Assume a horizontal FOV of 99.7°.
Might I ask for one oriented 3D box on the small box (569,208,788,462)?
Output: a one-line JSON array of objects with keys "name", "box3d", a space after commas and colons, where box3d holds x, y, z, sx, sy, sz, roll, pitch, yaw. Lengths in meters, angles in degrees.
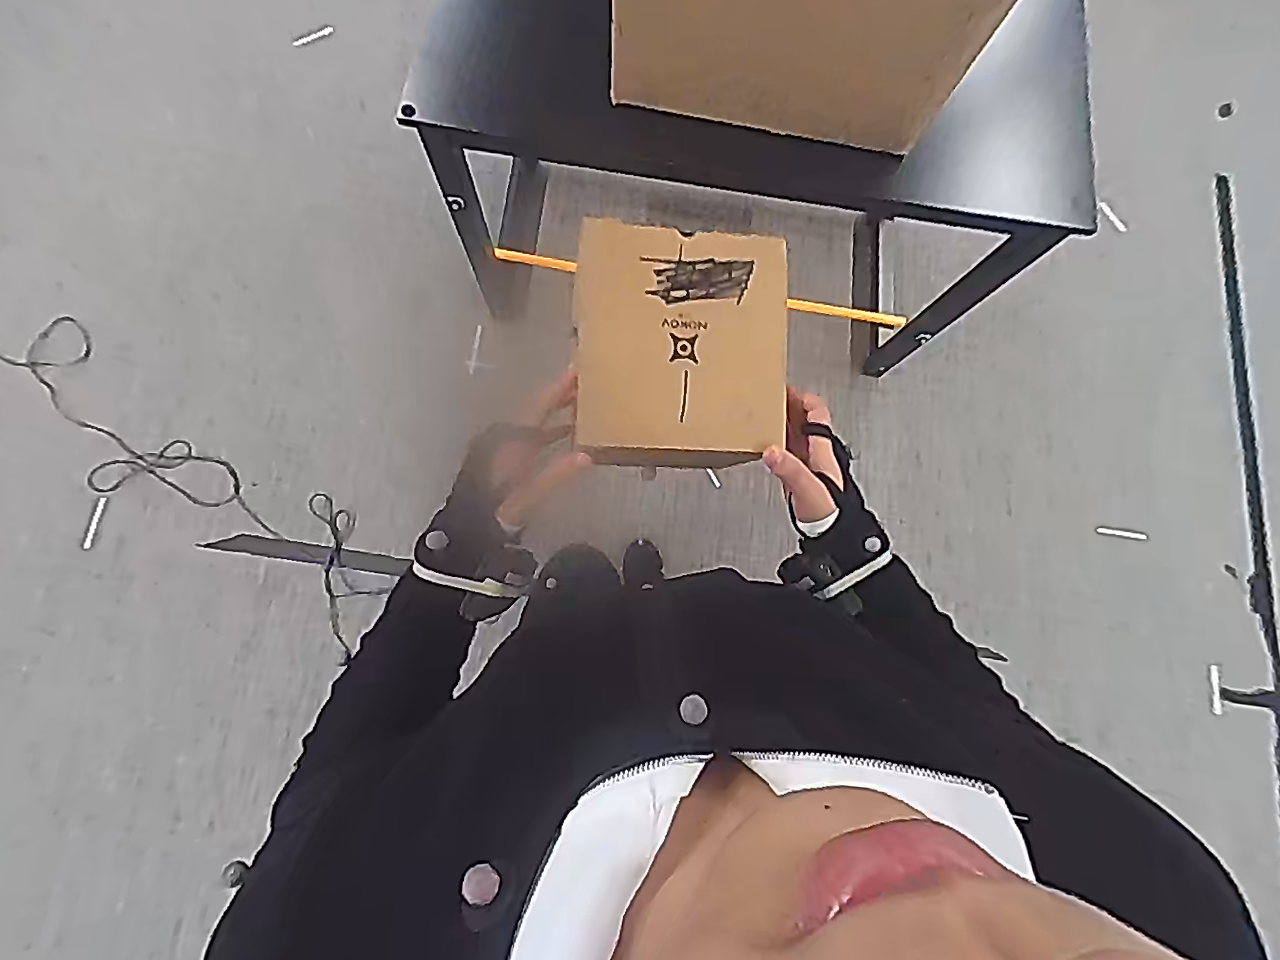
[{"name": "small box", "box3d": [0.022, -0.112, 0.492, 0.168, 0.176, 0.179, 1, 87, -9]}]
